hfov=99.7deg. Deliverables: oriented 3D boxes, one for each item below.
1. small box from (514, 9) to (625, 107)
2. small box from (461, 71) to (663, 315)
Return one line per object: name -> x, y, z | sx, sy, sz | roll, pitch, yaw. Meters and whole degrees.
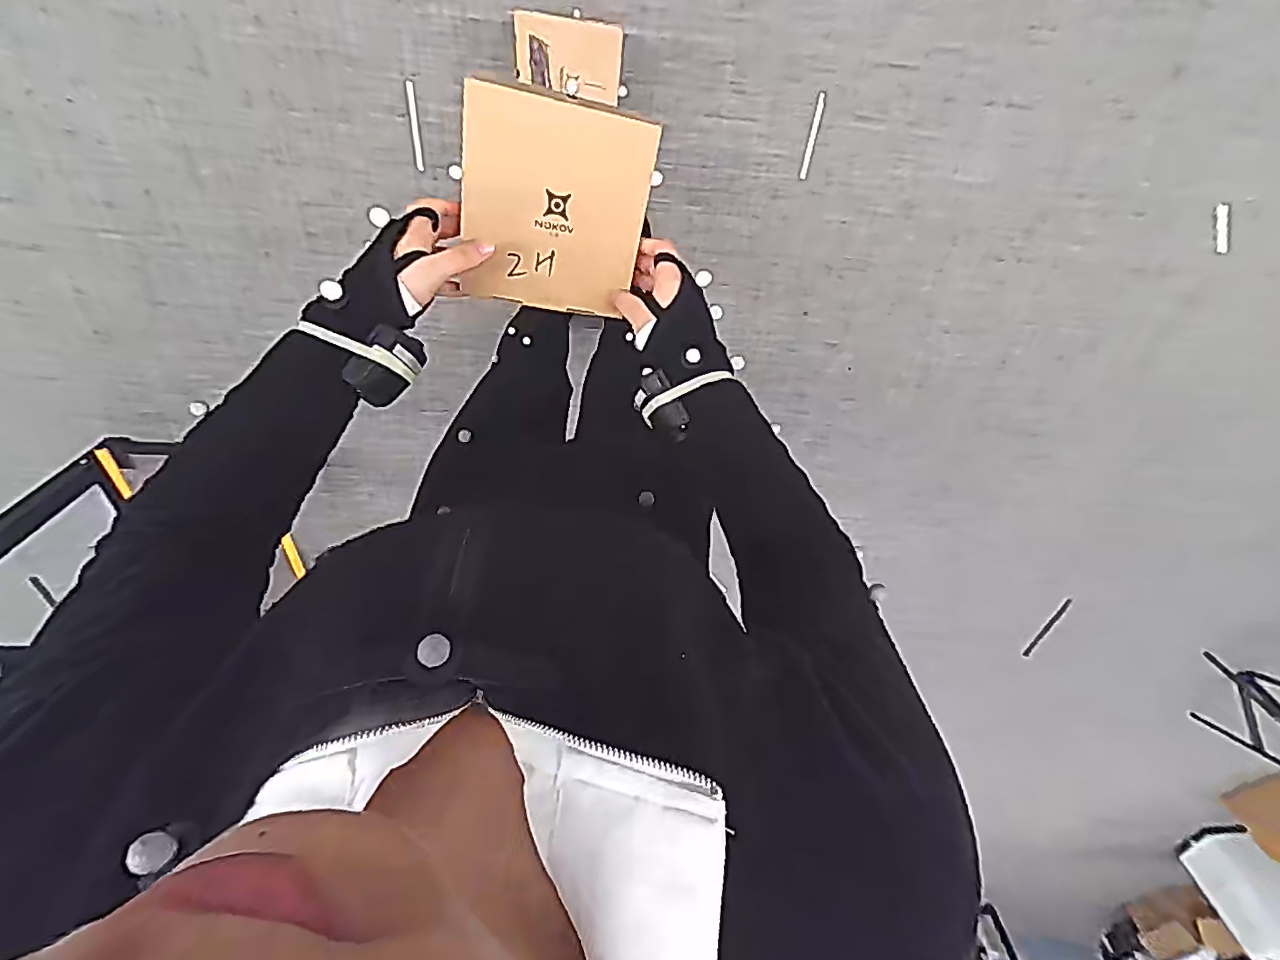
small box -> -0.125, -0.716, 0.967 | 0.179, 0.176, 0.168 | 4, 128, -7
small box -> -0.088, -0.297, 0.559 | 0.168, 0.176, 0.179 | 6, 126, -15
